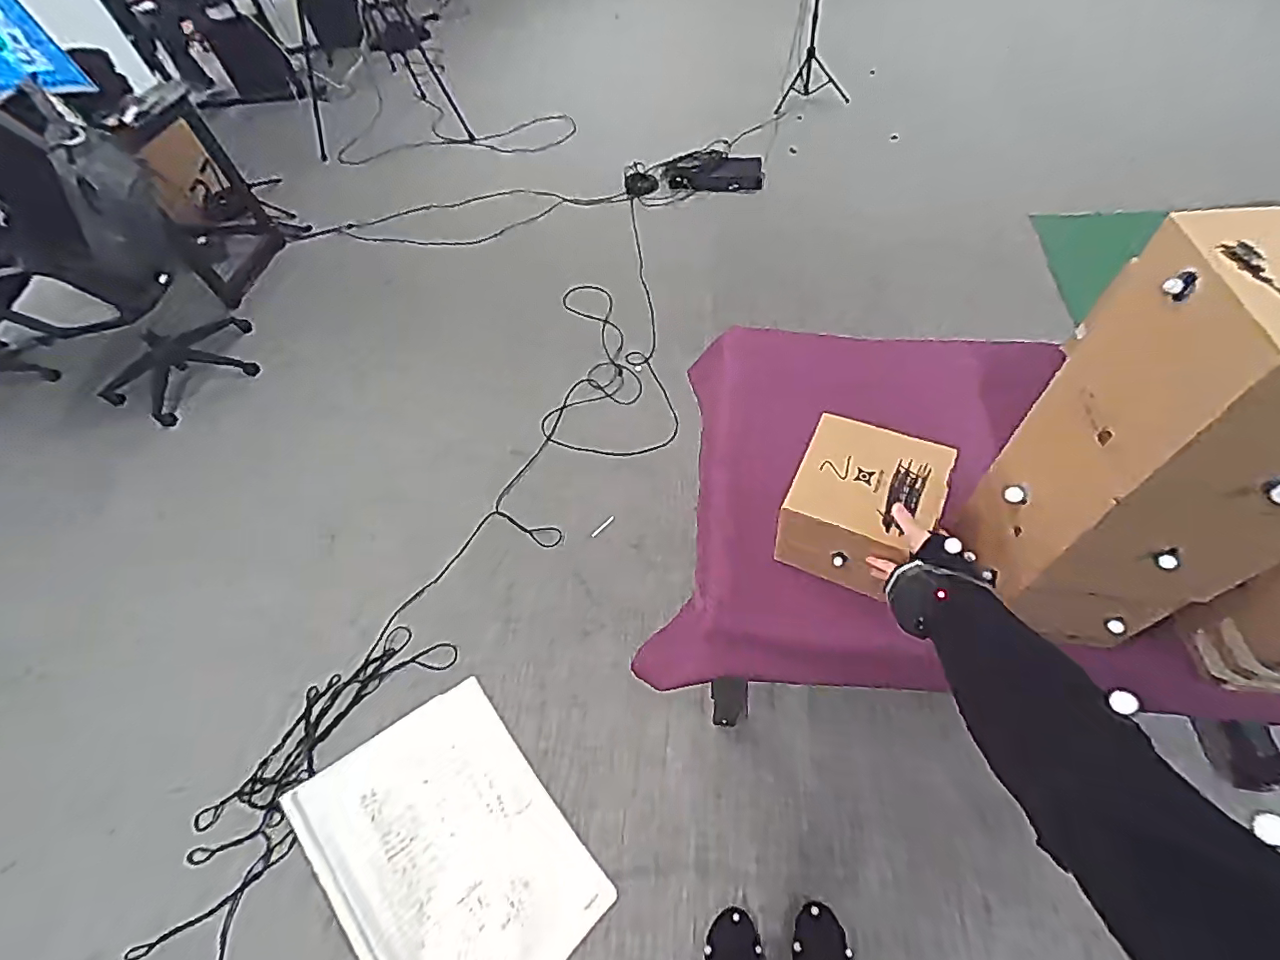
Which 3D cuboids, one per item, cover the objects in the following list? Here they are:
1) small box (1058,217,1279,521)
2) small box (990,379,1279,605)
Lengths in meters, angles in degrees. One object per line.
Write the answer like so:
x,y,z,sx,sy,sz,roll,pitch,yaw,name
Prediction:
0.485,-0.081,0.422,0.179,0.176,0.168,3,53,9,small box
0.502,0.016,0.554,0.179,0.176,0.168,3,53,10,small box
